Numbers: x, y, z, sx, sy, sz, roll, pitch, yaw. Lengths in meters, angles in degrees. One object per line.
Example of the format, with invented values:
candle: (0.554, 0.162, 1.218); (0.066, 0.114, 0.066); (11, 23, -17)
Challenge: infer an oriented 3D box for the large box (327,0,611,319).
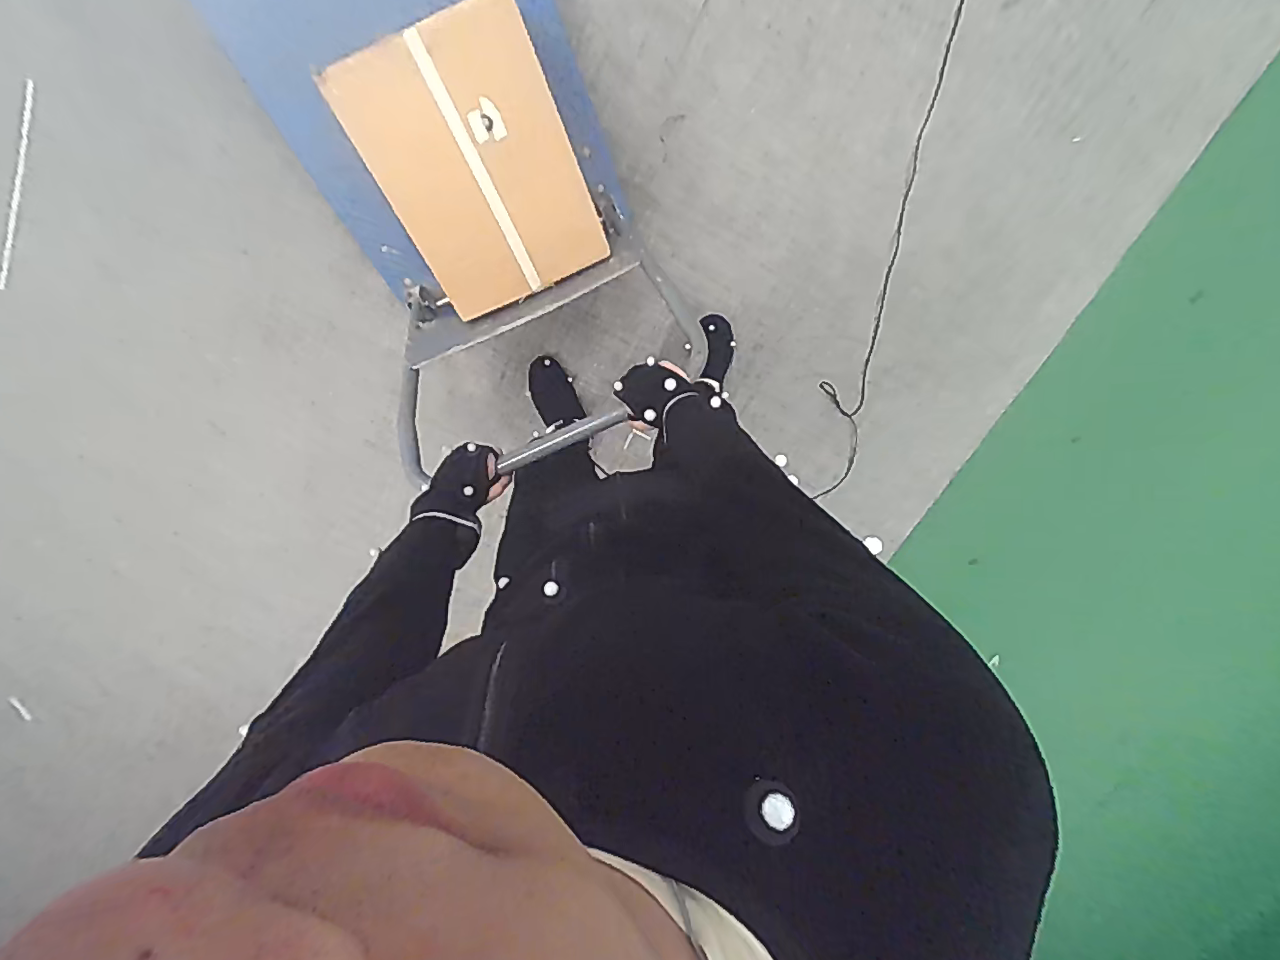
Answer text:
large box: (-0.289, -0.595, 1.033); (0.320, 0.320, 0.408); (-24, 129, 3)
